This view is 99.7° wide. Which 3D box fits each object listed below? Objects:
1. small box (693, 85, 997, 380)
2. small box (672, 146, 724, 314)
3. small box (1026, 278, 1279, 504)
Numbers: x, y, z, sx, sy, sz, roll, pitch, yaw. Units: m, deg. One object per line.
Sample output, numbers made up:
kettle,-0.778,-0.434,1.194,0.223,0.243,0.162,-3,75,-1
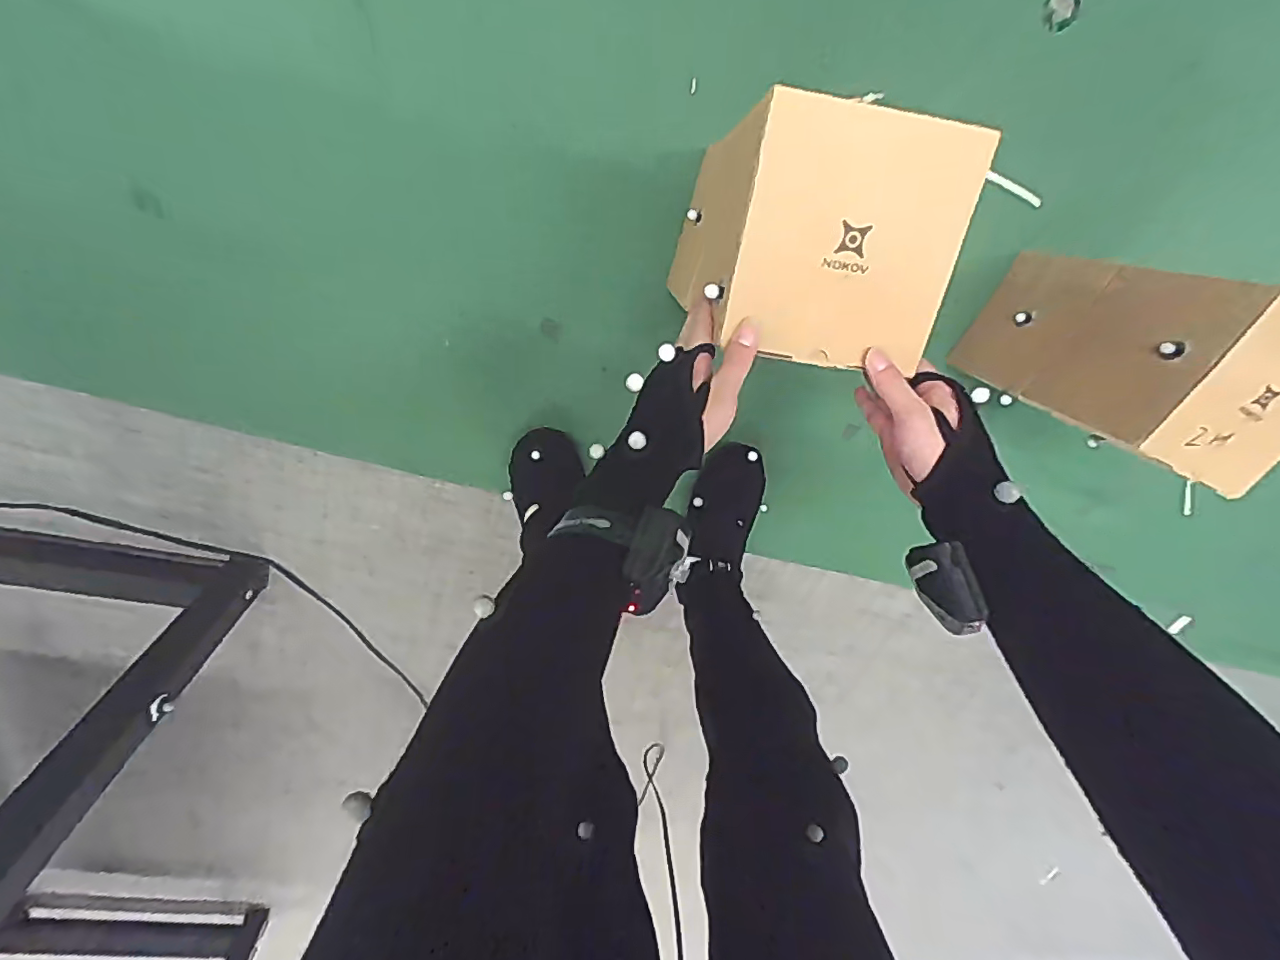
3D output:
small box,0.149,-0.200,0.467,0.168,0.176,0.179,7,113,-7
small box,0.145,-0.285,0.659,0.168,0.176,0.179,13,115,-12
small box,0.601,-0.108,0.612,0.168,0.176,0.179,21,114,-16
